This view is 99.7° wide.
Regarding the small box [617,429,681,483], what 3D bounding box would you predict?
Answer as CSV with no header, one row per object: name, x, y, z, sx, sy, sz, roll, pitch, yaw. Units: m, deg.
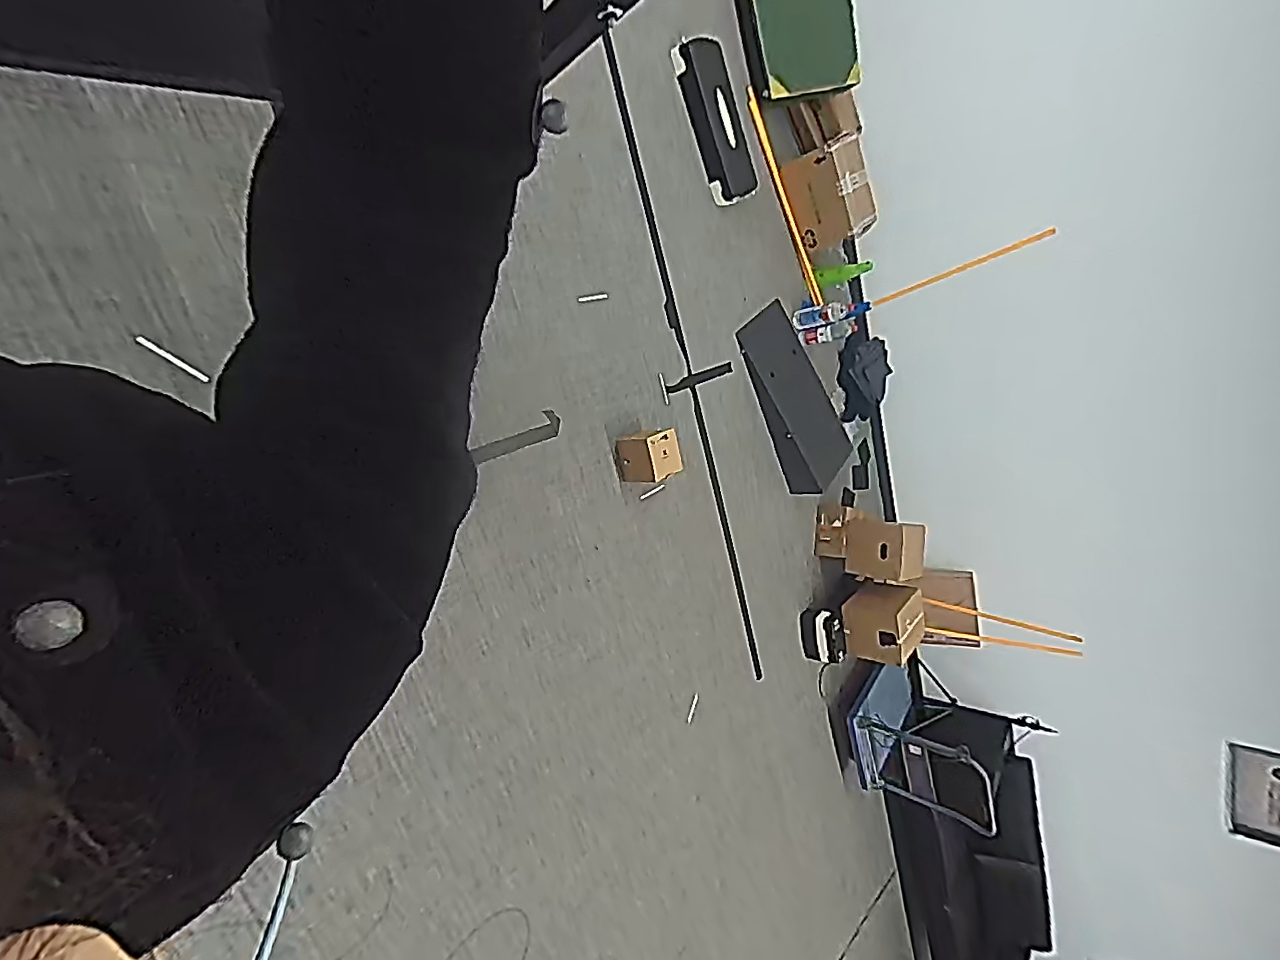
small box,0.033,-0.095,2.116,0.168,0.176,0.179,-25,108,-43
